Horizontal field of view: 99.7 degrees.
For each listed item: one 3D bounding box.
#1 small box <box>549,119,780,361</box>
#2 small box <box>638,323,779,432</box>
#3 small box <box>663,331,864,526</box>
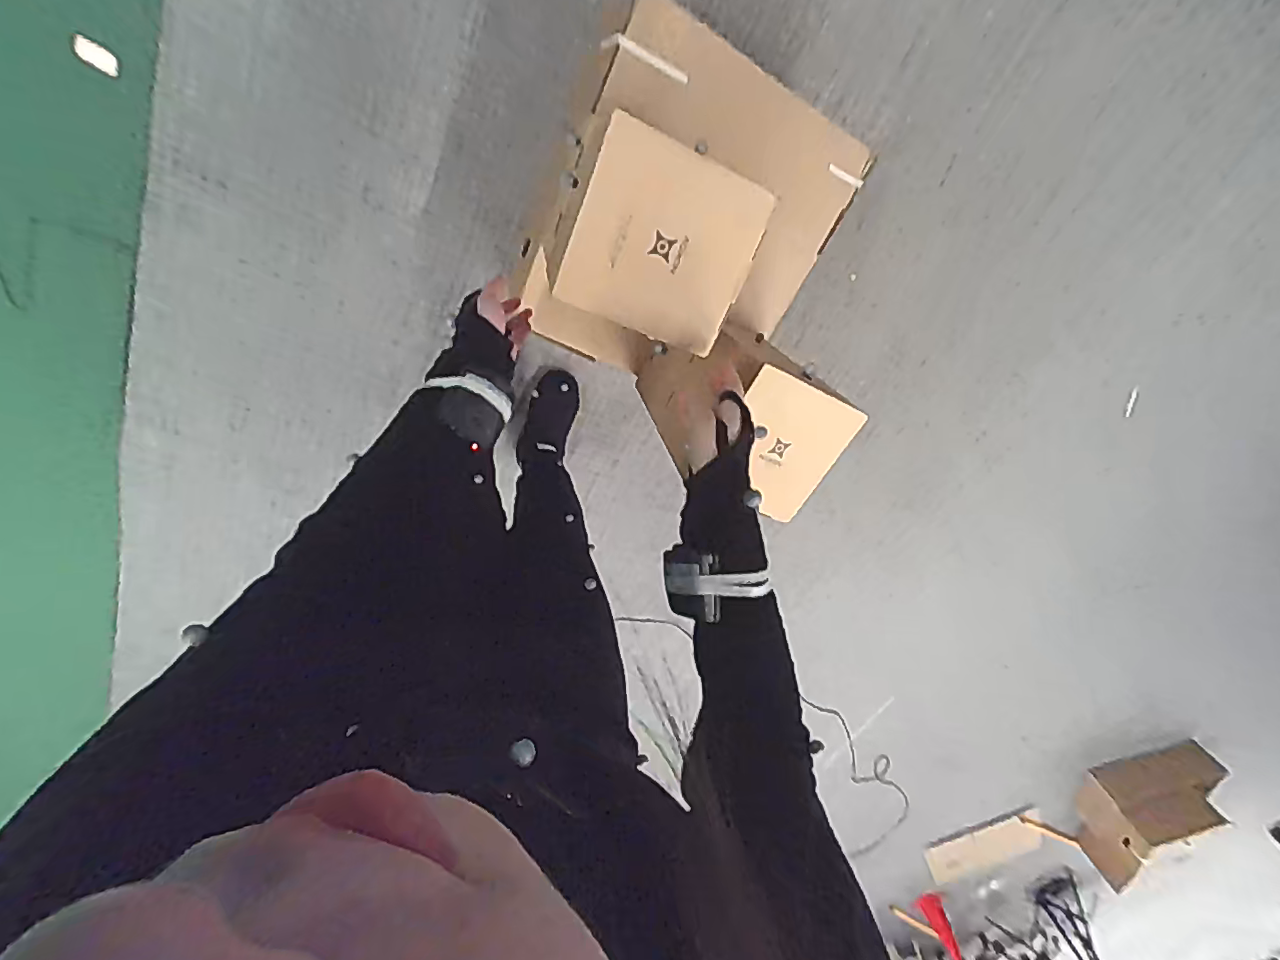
[{"bbox_3d":[0.012,-0.256,0.583,0.179,0.176,0.168,18,114,-20],"label":"small box"},{"bbox_3d":[0.118,-0.155,0.860,0.179,0.176,0.168,20,115,-23],"label":"small box"},{"bbox_3d":[0.149,-0.073,0.721,0.168,0.176,0.179,20,116,-23],"label":"small box"}]
